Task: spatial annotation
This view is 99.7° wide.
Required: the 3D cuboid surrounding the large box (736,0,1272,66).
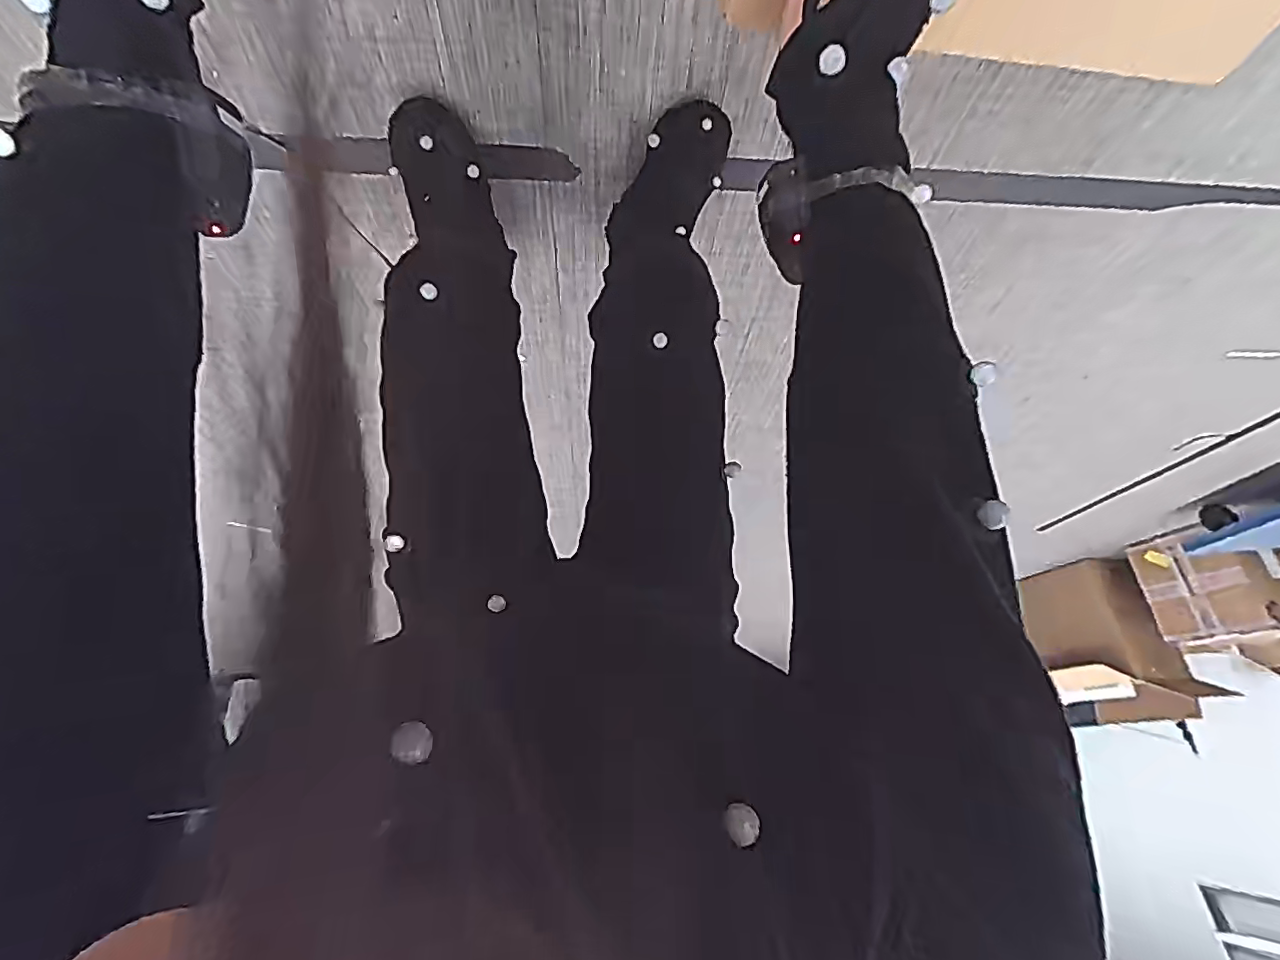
[{"bbox_3d":[0.267,-0.530,0.338,0.408,0.320,0.320,-1,155,-9],"label":"large box"}]
